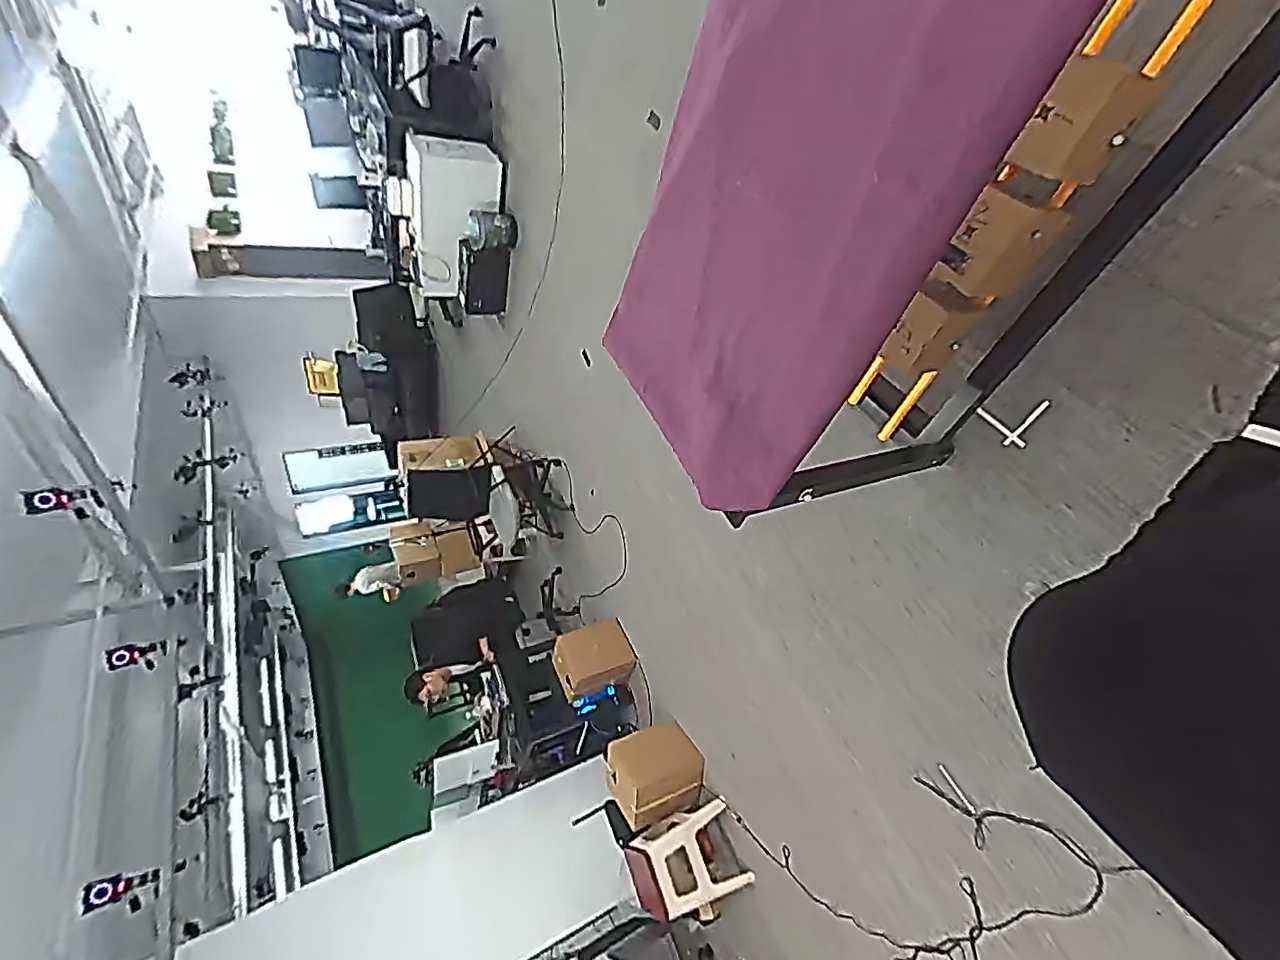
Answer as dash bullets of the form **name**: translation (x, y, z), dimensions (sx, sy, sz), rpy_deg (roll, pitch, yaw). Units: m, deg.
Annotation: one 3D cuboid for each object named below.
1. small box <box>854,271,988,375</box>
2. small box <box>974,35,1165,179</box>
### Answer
- **small box**: translation (0.649, -0.366, 1.256), dimensions (0.179, 0.176, 0.168), rpy_deg (56, 143, 31)
- **small box**: translation (0.759, -0.656, 0.964), dimensions (0.179, 0.176, 0.168), rpy_deg (54, 144, 32)
